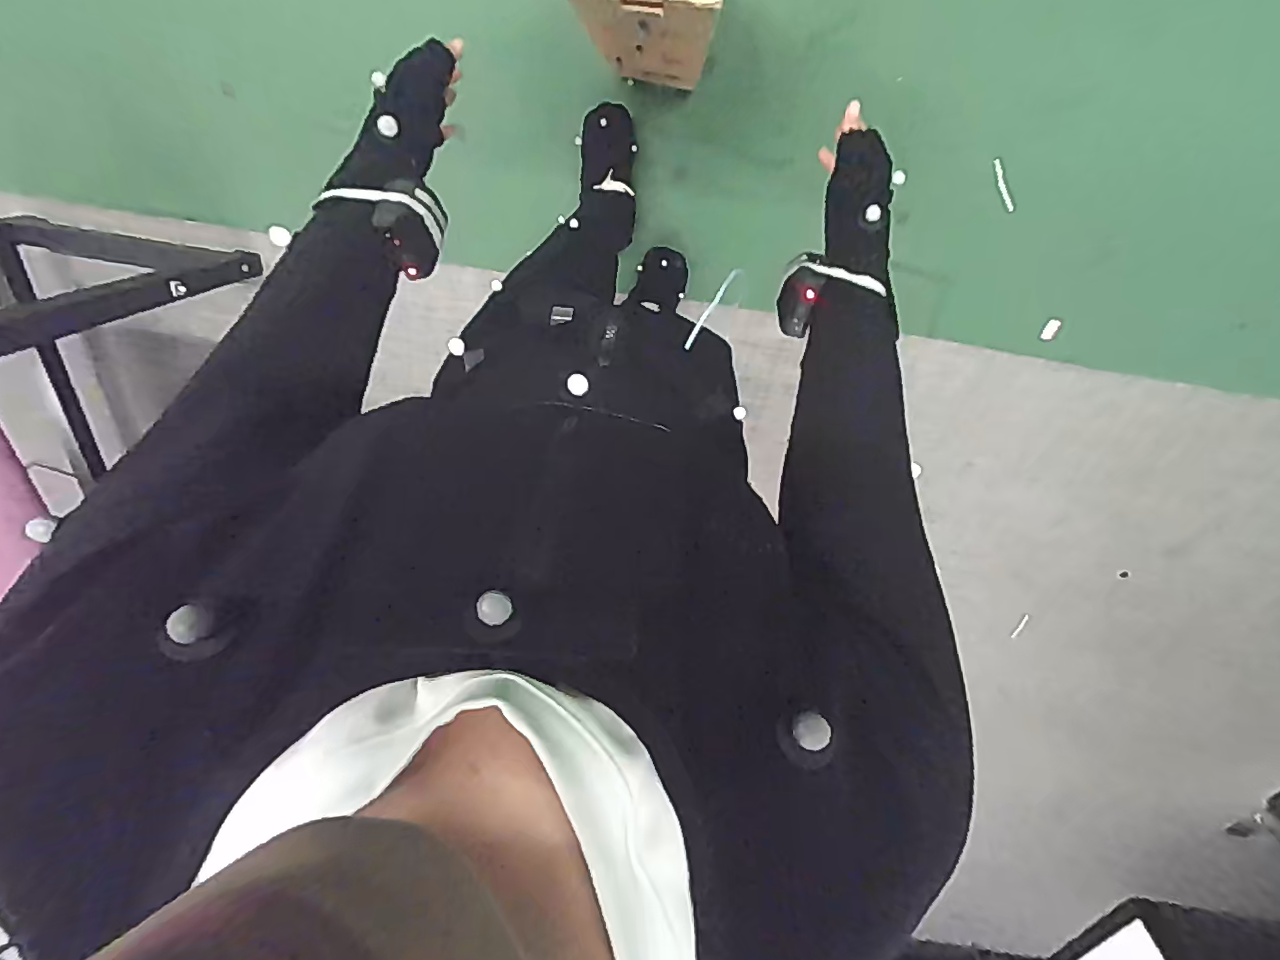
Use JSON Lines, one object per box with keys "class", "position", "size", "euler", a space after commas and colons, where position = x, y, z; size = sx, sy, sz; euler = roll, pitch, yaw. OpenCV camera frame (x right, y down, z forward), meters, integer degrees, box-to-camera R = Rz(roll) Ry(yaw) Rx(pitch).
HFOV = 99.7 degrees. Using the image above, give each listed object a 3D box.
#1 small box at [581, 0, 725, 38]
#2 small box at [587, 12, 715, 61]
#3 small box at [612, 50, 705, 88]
{"class": "small box", "position": [0.016, -0.602, 0.572], "size": [0.168, 0.176, 0.179], "euler": [6, 121, 0]}
{"class": "small box", "position": [0.025, -0.685, 0.714], "size": [0.168, 0.176, 0.179], "euler": [7, 121, -1]}
{"class": "small box", "position": [0.048, -0.847, 0.998], "size": [0.168, 0.176, 0.179], "euler": [9, 121, -2]}
